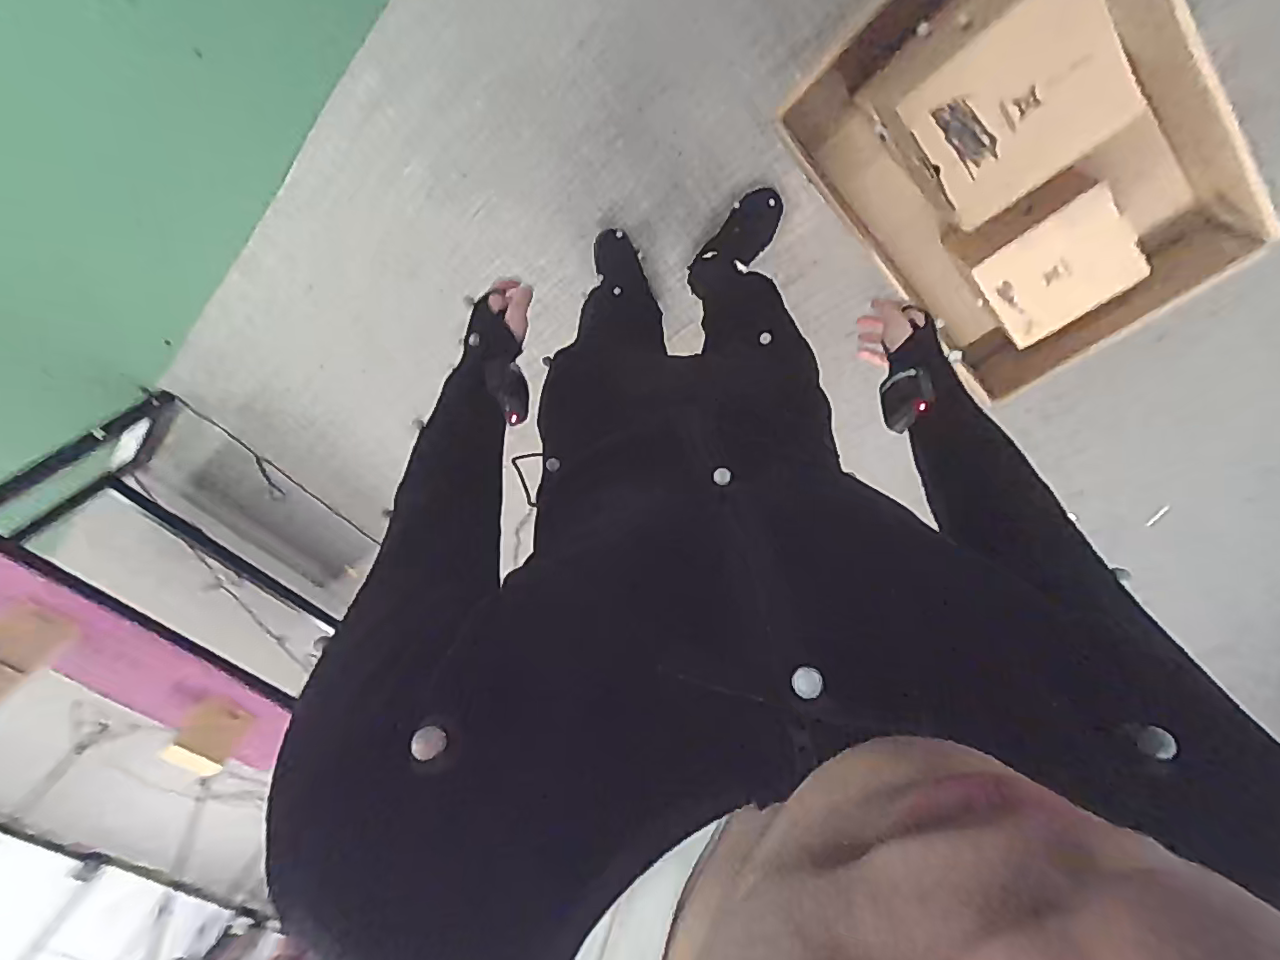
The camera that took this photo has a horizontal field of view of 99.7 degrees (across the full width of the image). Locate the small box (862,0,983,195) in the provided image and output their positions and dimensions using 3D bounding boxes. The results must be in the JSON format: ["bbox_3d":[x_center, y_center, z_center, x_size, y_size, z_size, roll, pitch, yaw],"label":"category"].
[{"bbox_3d":[0.421,-0.524,0.728,0.168,0.176,0.179,41,124,-20],"label":"small box"}]

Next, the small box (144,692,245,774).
[{"bbox_3d":[-1.426,0.814,1.740,0.179,0.176,0.168,-31,117,29],"label":"small box"}]

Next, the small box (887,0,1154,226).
[{"bbox_3d":[0.398,-0.423,0.600,0.179,0.176,0.168,-32,116,29],"label":"small box"}]

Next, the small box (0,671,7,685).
[{"bbox_3d":[-1.804,0.544,1.385,0.179,0.176,0.168,-30,117,29],"label":"small box"}]
